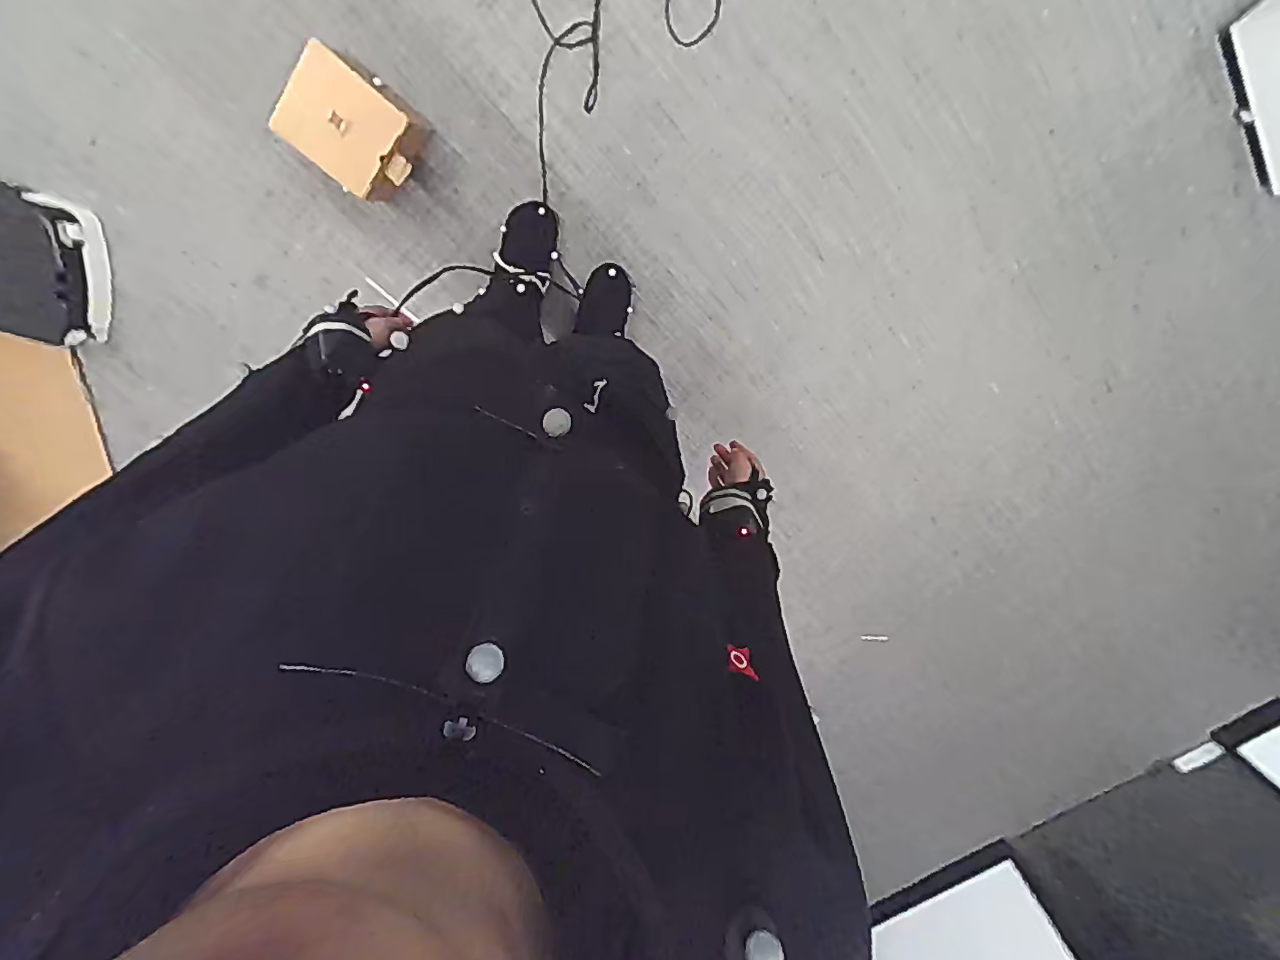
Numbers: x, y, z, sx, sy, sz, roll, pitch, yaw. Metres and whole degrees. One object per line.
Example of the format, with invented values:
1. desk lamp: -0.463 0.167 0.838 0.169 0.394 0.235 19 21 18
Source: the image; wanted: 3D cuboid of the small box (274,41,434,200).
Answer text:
1. small box: -0.512 -0.640 0.994 0.179 0.176 0.168 36 107 -22
